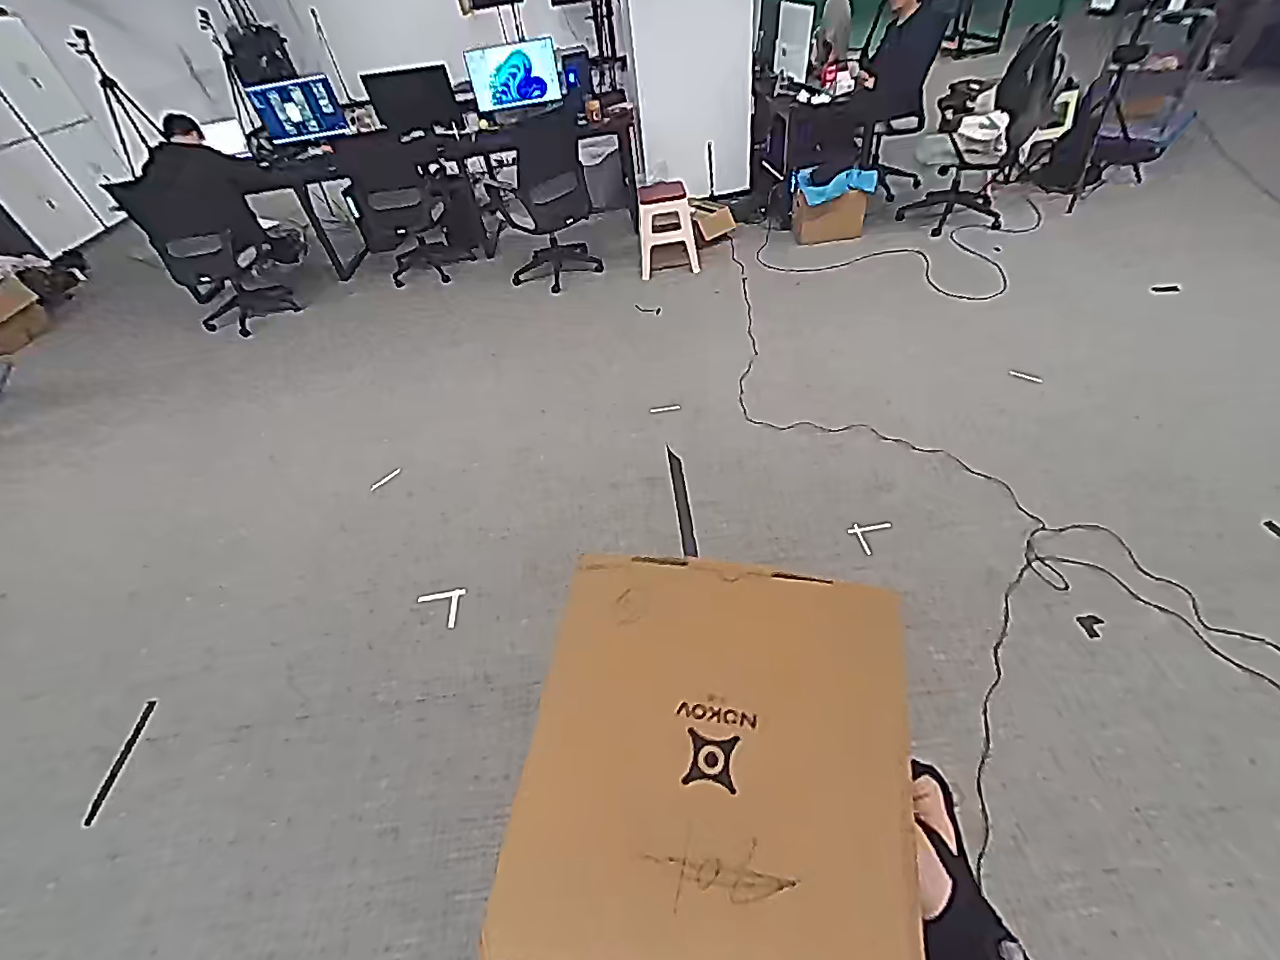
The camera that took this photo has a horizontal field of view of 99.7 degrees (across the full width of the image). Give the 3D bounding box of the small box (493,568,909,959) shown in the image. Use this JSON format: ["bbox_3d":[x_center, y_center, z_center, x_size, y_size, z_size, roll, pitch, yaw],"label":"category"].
[{"bbox_3d":[0.040,0.169,0.315,0.168,0.176,0.179,2,59,11],"label":"small box"}]
